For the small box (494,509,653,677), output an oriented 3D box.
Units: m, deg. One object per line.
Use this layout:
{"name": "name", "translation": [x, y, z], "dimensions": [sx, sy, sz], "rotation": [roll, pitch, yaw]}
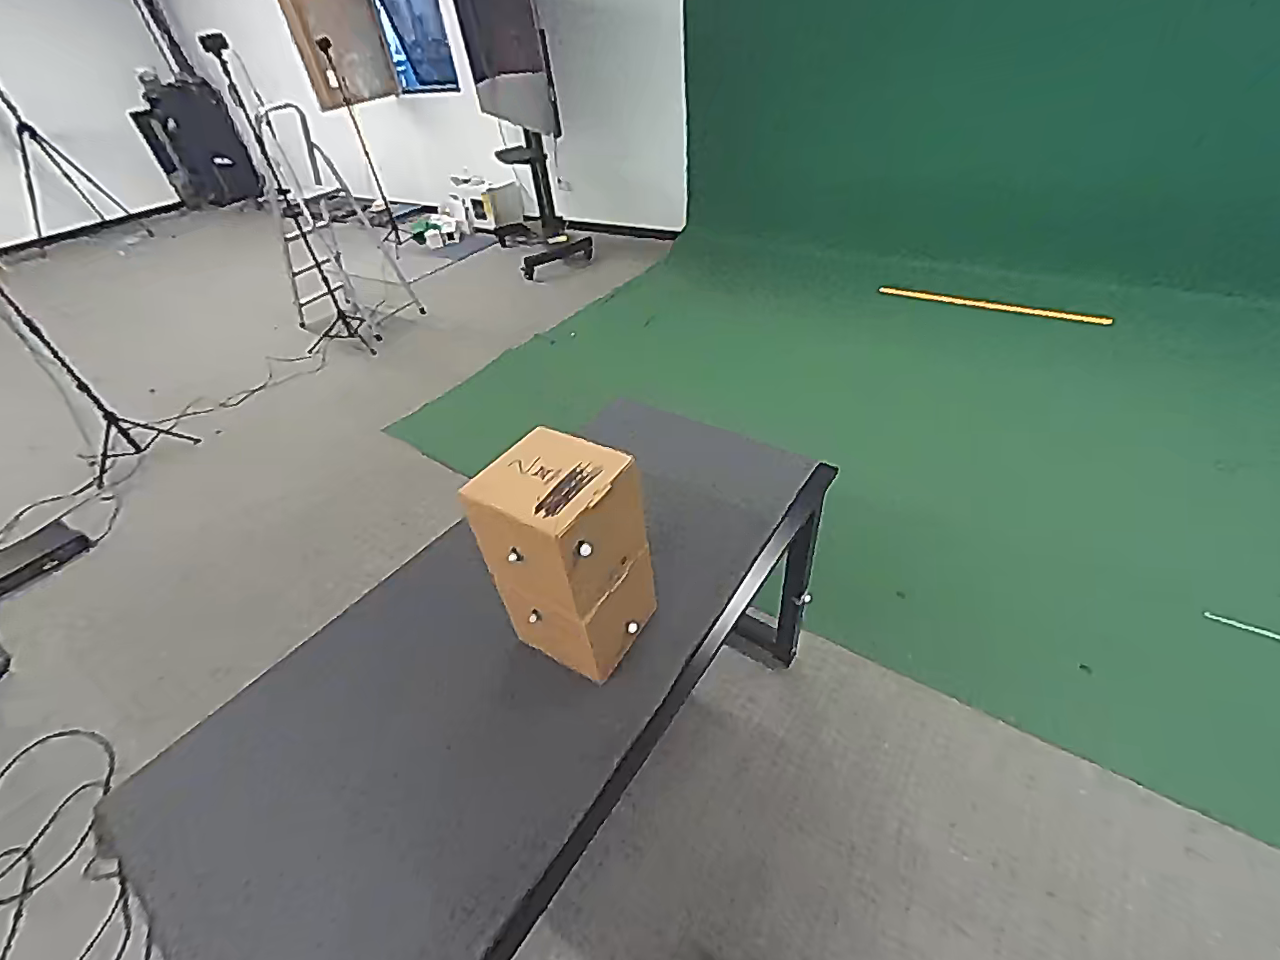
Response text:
{"name": "small box", "translation": [-0.095, 0.178, 0.856], "dimensions": [0.179, 0.176, 0.168], "rotation": [18, 46, 27]}
